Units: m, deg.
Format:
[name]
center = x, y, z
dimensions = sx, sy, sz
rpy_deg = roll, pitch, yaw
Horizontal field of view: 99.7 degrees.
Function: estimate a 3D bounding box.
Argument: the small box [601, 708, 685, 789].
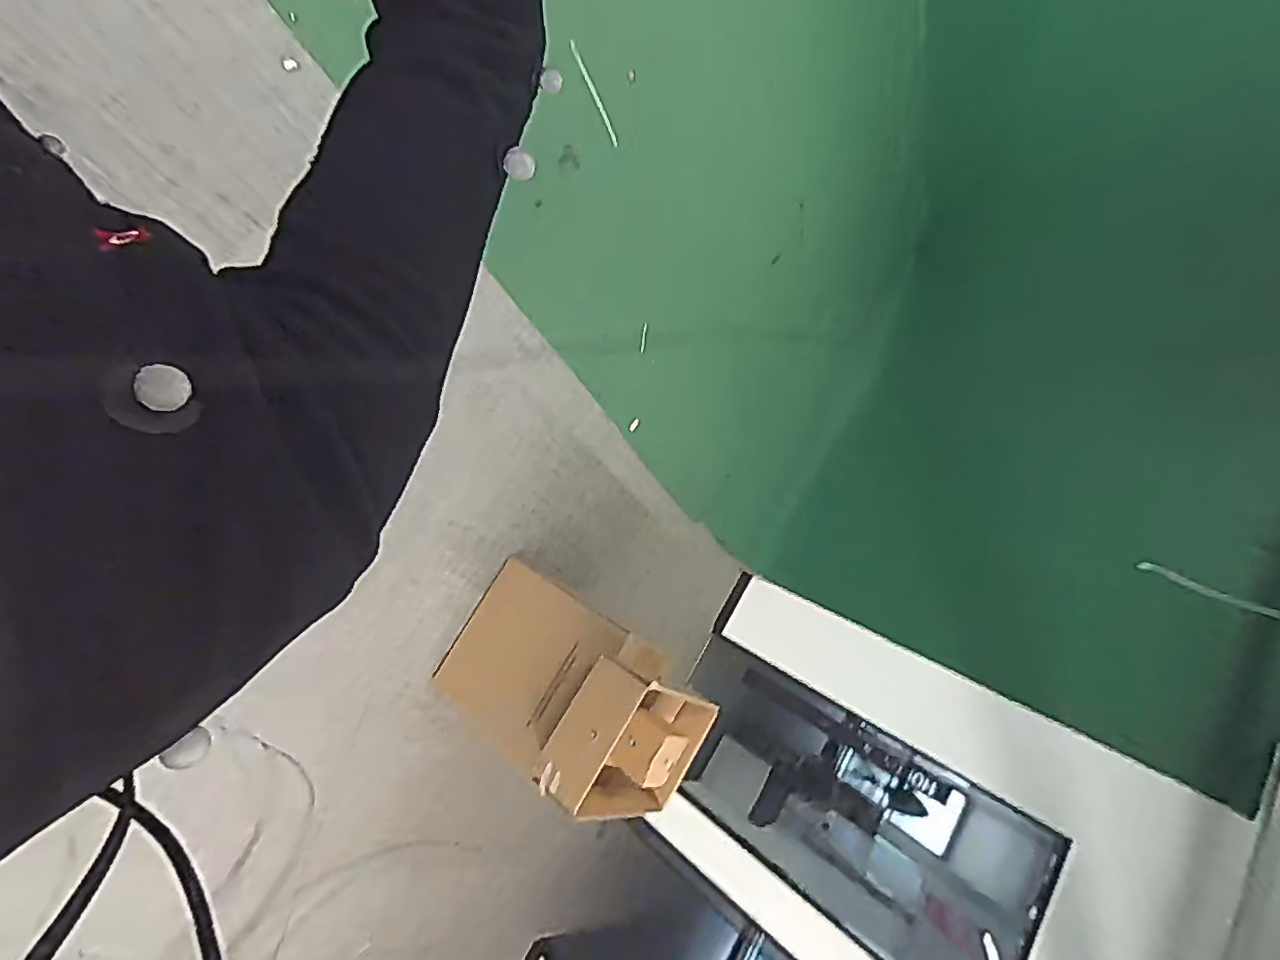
[small box]
center = 0.008, 0.841, 1.701
dimensions = 0.168, 0.176, 0.179
rpy_deg = -58, 143, -10
